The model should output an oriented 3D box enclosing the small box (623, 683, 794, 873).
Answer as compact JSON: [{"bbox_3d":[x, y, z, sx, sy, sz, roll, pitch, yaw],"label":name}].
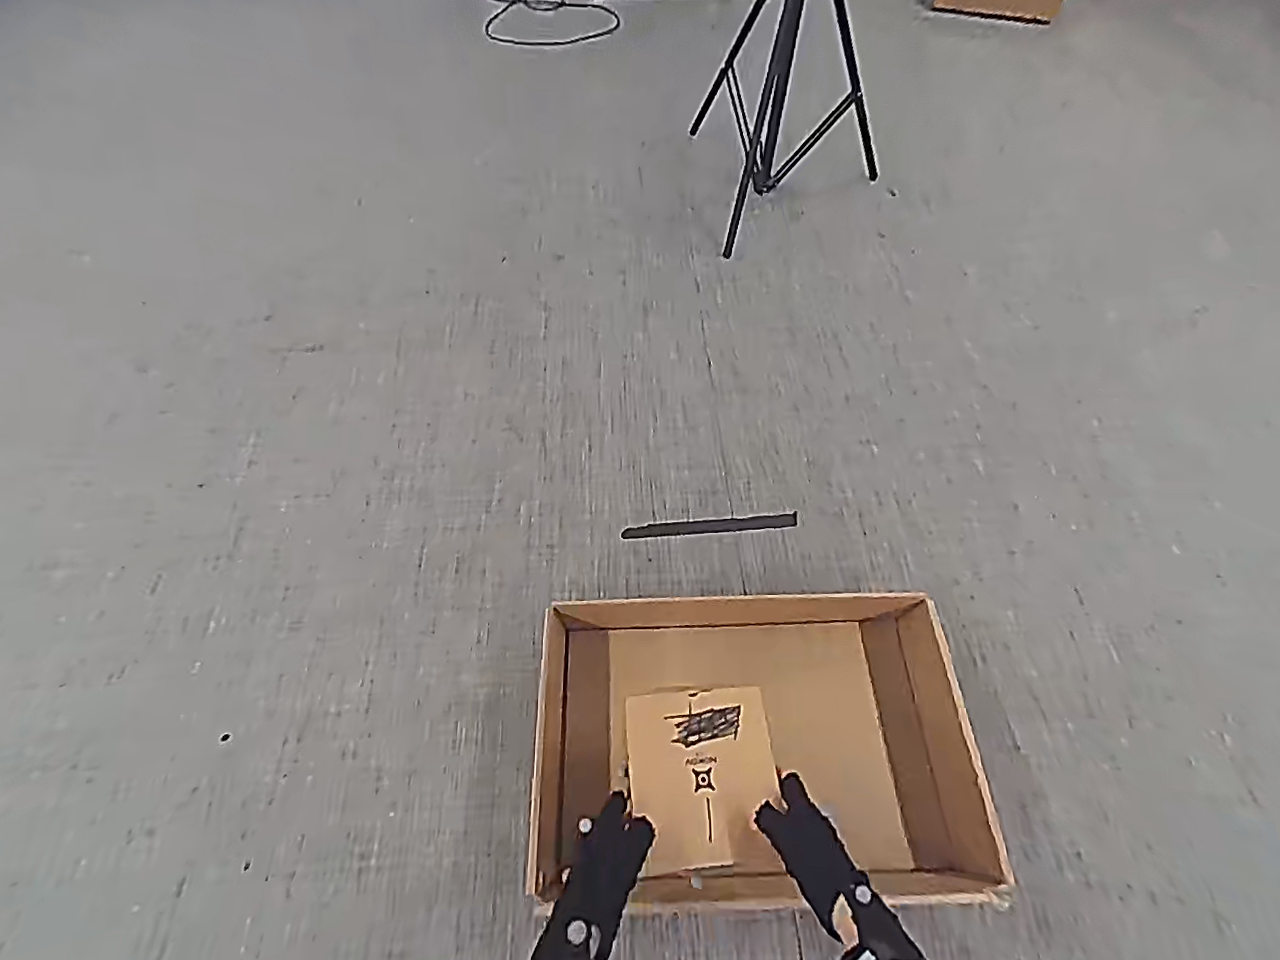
[{"bbox_3d":[0.067,0.367,0.665,0.168,0.176,0.179,-2,53,-6],"label":"small box"}]
